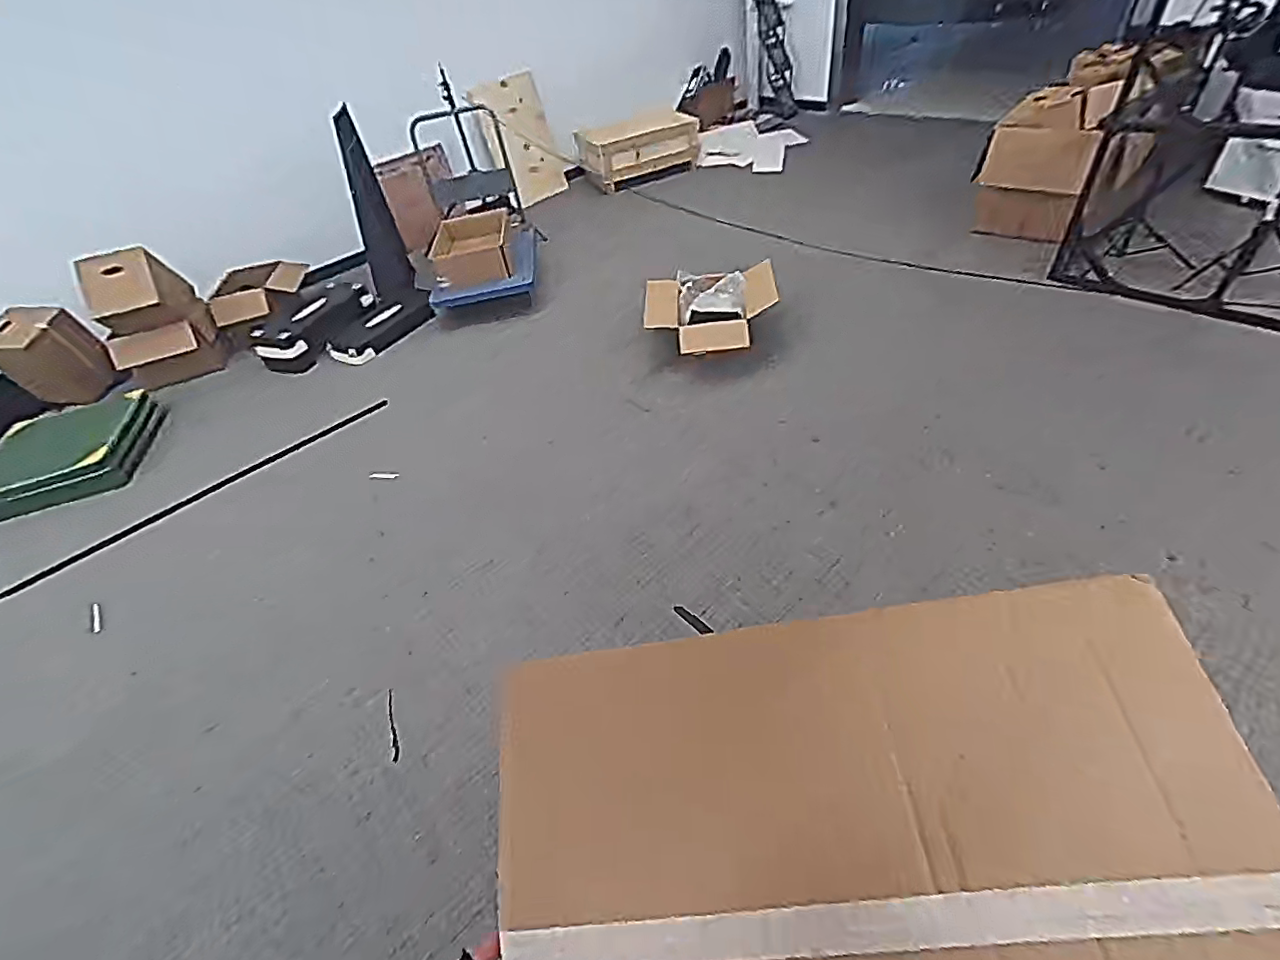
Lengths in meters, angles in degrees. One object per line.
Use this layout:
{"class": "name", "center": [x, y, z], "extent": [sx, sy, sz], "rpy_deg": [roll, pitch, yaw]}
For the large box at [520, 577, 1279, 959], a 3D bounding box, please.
{"class": "large box", "center": [0.154, 0.296, 0.423], "extent": [0.408, 0.320, 0.320], "rpy_deg": [-11, 65, 8]}
